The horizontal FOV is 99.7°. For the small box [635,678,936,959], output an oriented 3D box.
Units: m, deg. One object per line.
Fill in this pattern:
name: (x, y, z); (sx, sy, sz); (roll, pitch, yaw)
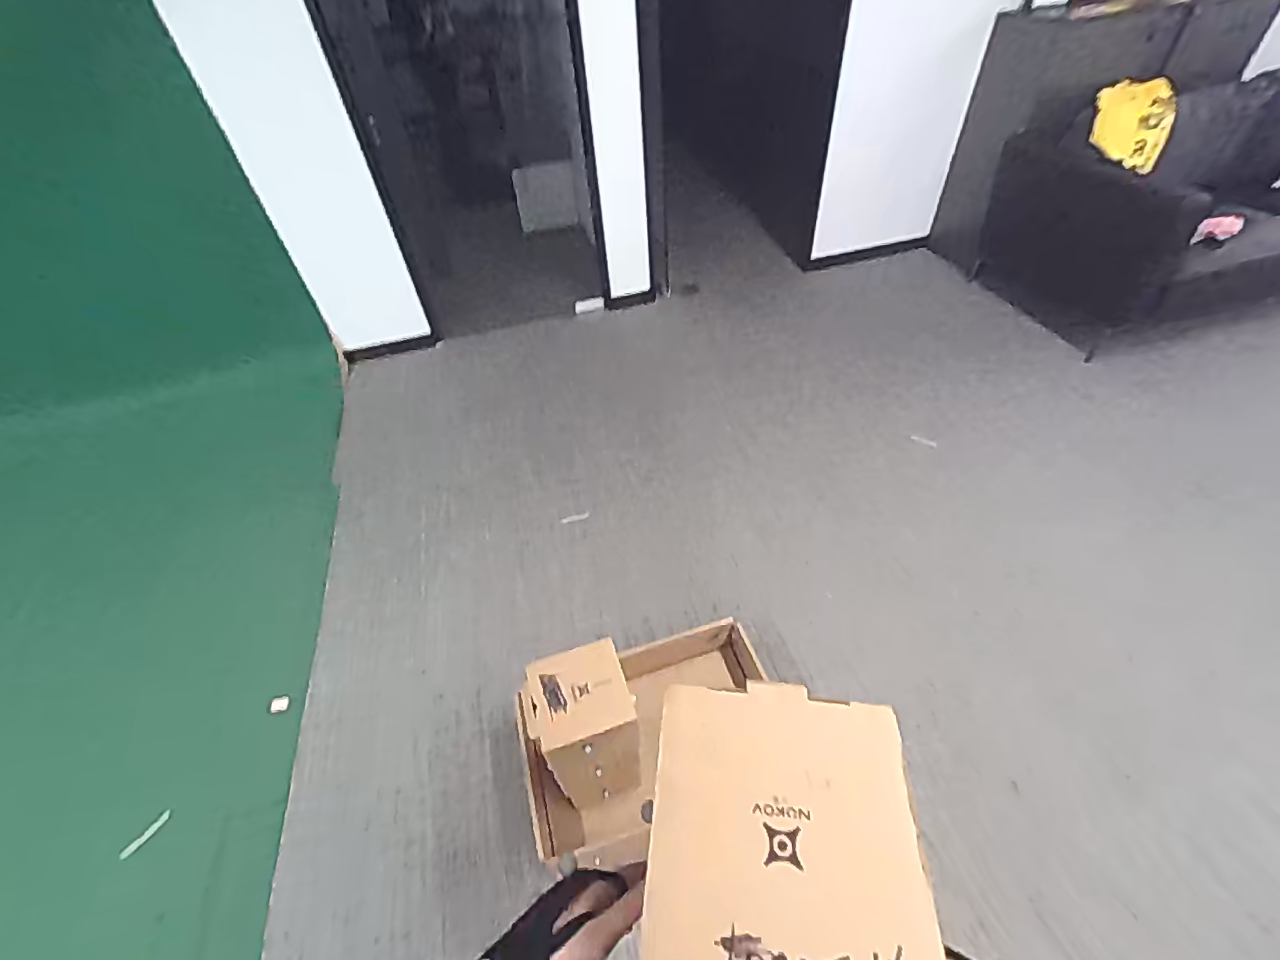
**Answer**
small box: (0.093, 0.273, 0.399); (0.168, 0.176, 0.179); (2, 45, 8)

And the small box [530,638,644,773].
small box: (-0.100, 0.442, 1.054); (0.179, 0.176, 0.168); (-16, 50, -11)

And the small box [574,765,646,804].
small box: (-0.090, 0.653, 1.303); (0.168, 0.176, 0.179); (-17, 47, -11)

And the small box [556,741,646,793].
small box: (-0.095, 0.551, 1.176); (0.179, 0.176, 0.168); (-16, 49, -11)
